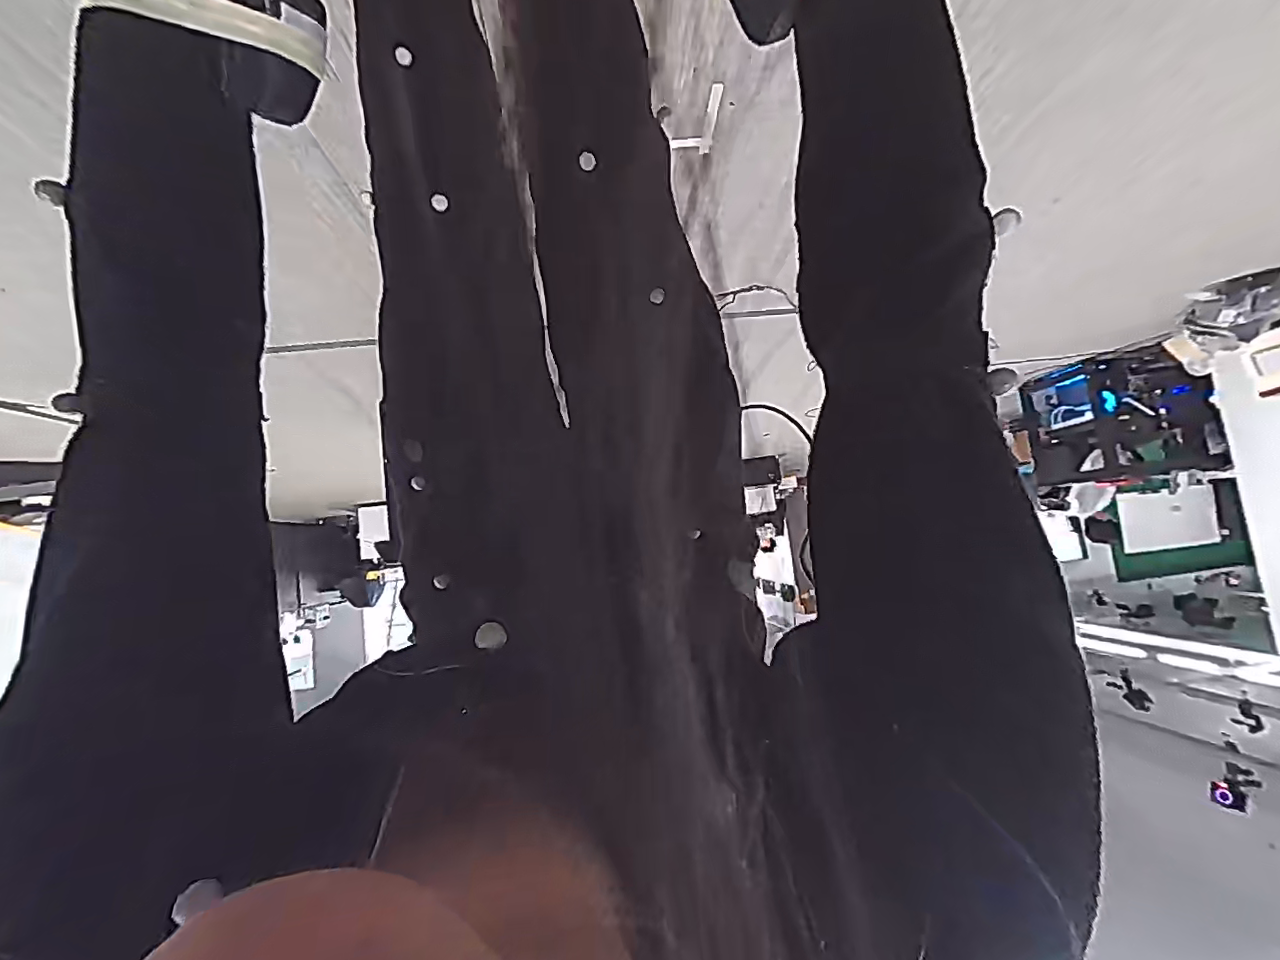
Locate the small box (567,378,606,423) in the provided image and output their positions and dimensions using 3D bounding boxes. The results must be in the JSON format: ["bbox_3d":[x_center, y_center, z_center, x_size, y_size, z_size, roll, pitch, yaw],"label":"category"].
[{"bbox_3d":[-0.253,-0.373,2.543,0.168,0.176,0.179,-6,174,-6],"label":"small box"}]
